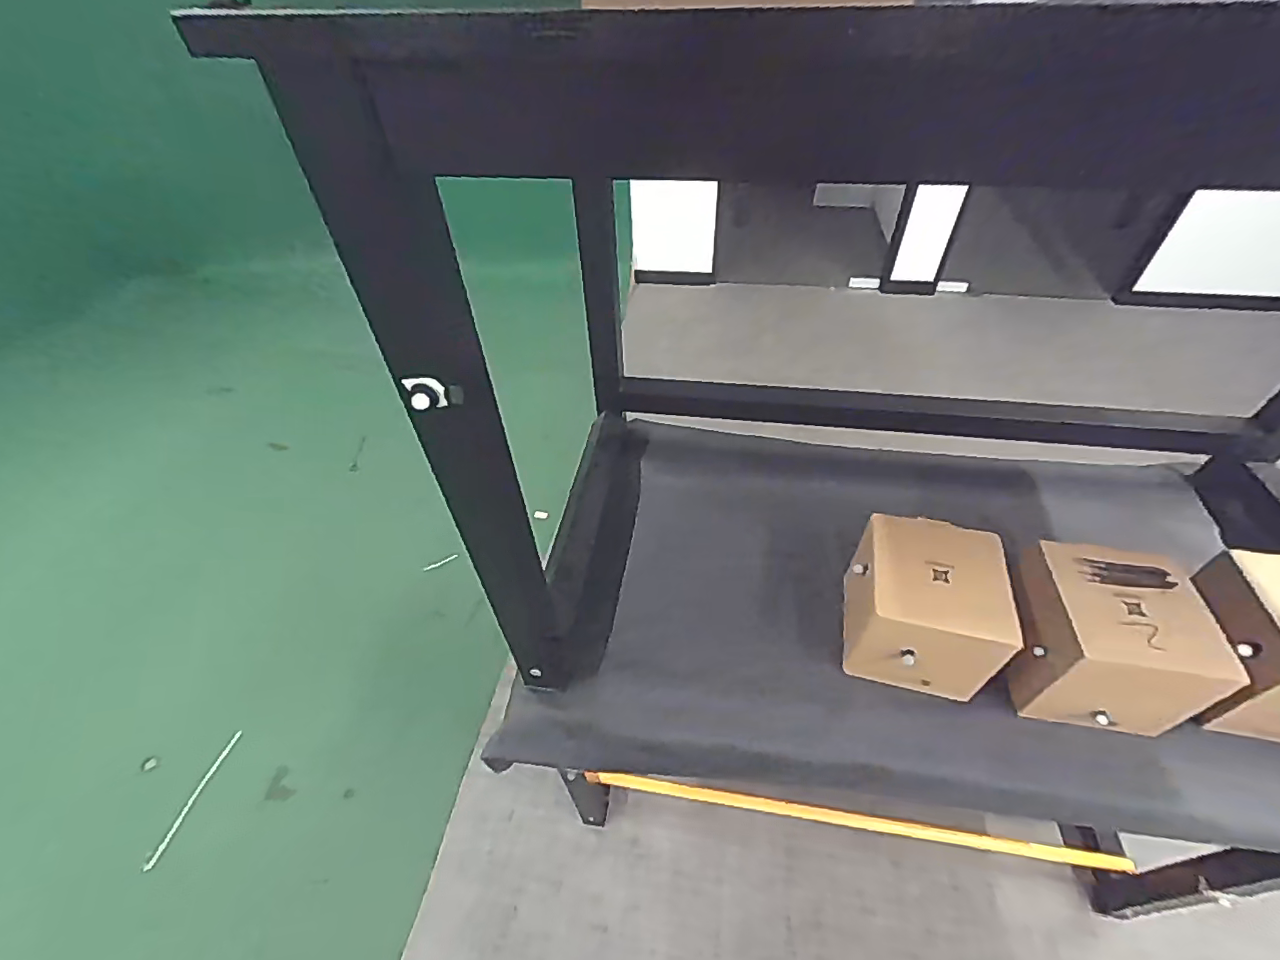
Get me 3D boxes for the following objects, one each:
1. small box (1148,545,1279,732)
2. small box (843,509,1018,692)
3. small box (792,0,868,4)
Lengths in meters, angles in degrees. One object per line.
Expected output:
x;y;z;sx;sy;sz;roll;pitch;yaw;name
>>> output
0.826;0.212;0.696;0.168;0.176;0.179;8;46;10;small box
0.391;0.171;0.760;0.168;0.176;0.179;10;47;12;small box
0.065;-0.358;0.266;0.168;0.176;0.179;6;48;8;small box
